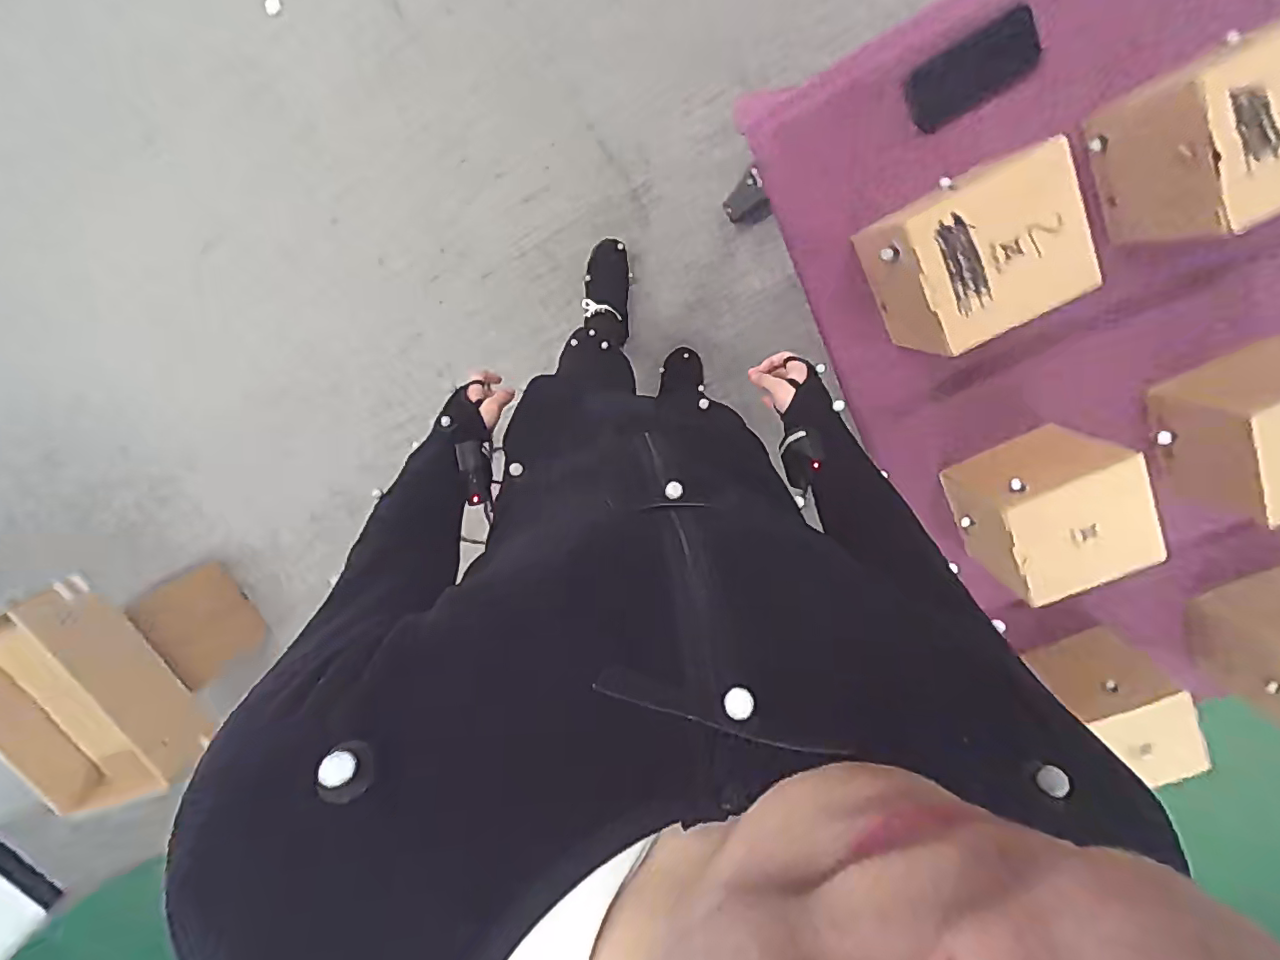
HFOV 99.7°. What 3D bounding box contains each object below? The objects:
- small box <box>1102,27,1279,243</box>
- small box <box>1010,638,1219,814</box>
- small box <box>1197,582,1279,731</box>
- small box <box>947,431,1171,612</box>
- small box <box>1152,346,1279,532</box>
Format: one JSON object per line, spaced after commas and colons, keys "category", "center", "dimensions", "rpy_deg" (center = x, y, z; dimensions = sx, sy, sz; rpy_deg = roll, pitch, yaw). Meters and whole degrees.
{"category": "small box", "center": [0.670, -0.387, 0.606], "dimensions": [0.179, 0.176, 0.168], "rpy_deg": [-26, 106, 12]}
{"category": "small box", "center": [0.754, 0.388, 0.876], "dimensions": [0.179, 0.176, 0.168], "rpy_deg": [-26, 104, 13]}
{"category": "small box", "center": [1.020, 0.270, 0.819], "dimensions": [0.179, 0.176, 0.168], "rpy_deg": [-23, 106, 12]}
{"category": "small box", "center": [0.583, 0.050, 0.772], "dimensions": [0.179, 0.176, 0.168], "rpy_deg": [-25, 106, 12]}
{"category": "small box", "center": [0.846, -0.063, 0.713], "dimensions": [0.179, 0.176, 0.168], "rpy_deg": [-24, 106, 13]}
